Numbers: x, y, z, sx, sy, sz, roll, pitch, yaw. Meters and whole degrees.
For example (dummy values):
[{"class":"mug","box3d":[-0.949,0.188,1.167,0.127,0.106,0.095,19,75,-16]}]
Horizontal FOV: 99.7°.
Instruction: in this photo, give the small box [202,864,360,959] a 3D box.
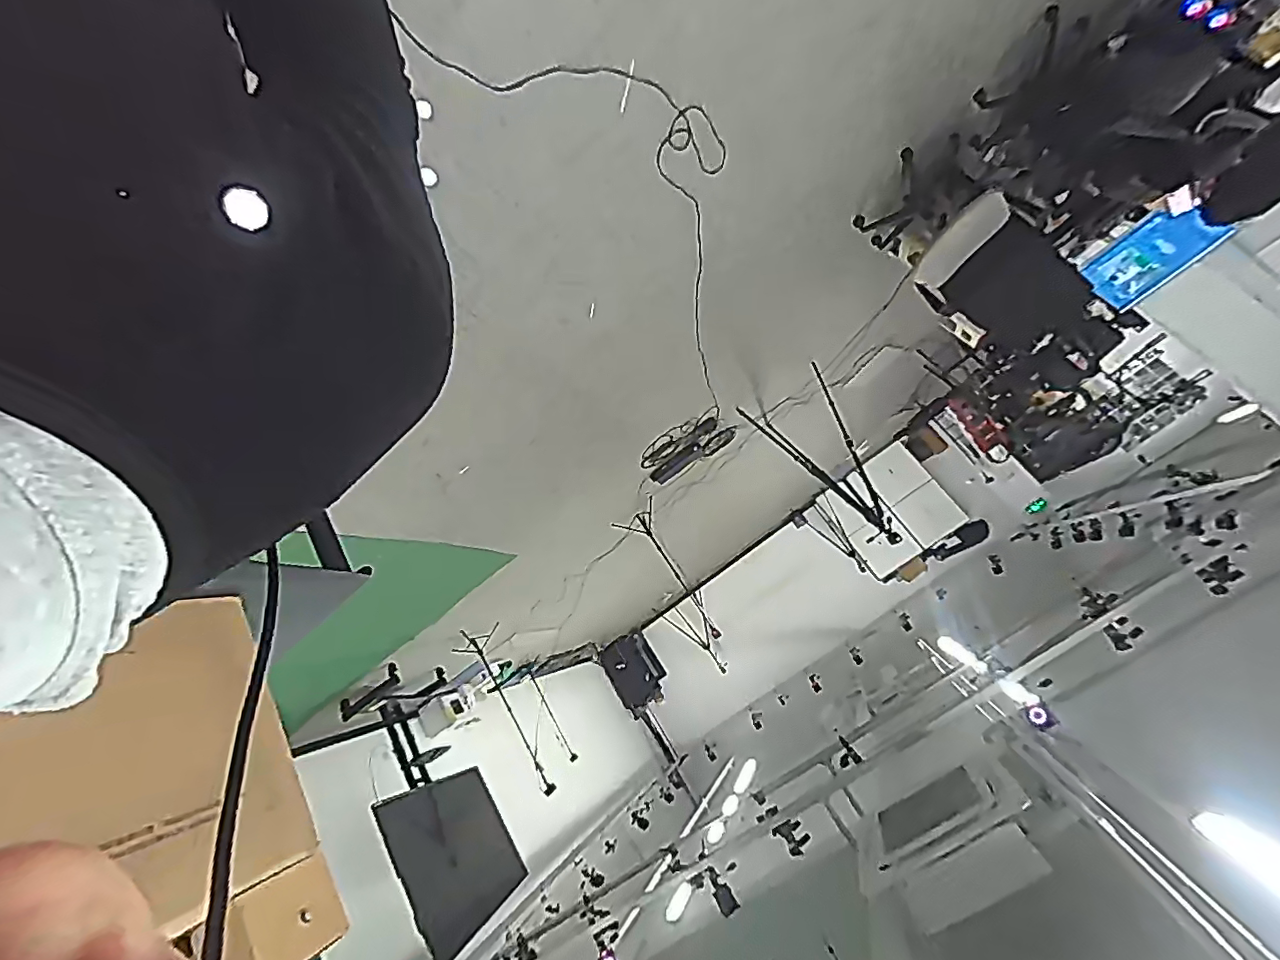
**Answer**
[{"class":"small box","box3d":[-0.704,0.910,1.064,0.168,0.176,0.179,-42,161,13]}]
